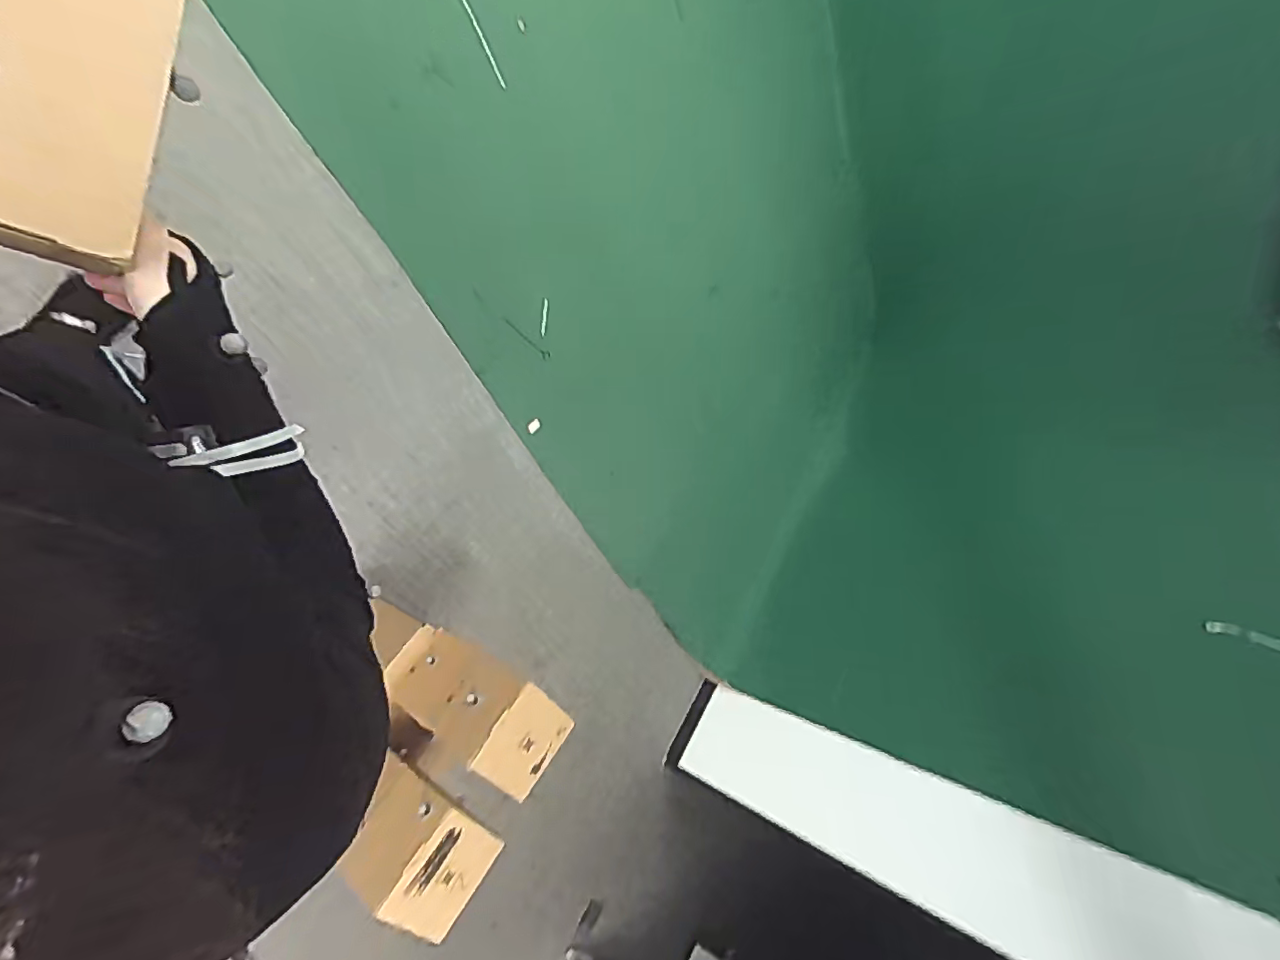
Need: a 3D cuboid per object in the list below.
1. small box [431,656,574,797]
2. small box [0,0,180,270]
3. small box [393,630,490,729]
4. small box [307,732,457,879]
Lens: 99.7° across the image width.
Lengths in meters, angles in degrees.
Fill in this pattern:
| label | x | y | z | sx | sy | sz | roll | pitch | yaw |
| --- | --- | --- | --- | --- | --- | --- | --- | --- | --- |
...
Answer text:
| label | x | y | z | sx | sy | sz | roll | pitch | yaw |
| --- | --- | --- | --- | --- | --- | --- | --- | --- | --- |
| small box | -0.269 | 0.468 | 1.053 | 0.168 | 0.176 | 0.179 | -51 | 130 | -28 |
| small box | -0.403 | -0.241 | 0.316 | 0.168 | 0.176 | 0.179 | 10 | 95 | -48 |
| small box | -0.387 | 0.450 | 1.165 | 0.168 | 0.176 | 0.179 | -52 | 131 | -27 |
| small box | -0.507 | 0.626 | 1.061 | 0.168 | 0.176 | 0.179 | -51 | 132 | -30 |
